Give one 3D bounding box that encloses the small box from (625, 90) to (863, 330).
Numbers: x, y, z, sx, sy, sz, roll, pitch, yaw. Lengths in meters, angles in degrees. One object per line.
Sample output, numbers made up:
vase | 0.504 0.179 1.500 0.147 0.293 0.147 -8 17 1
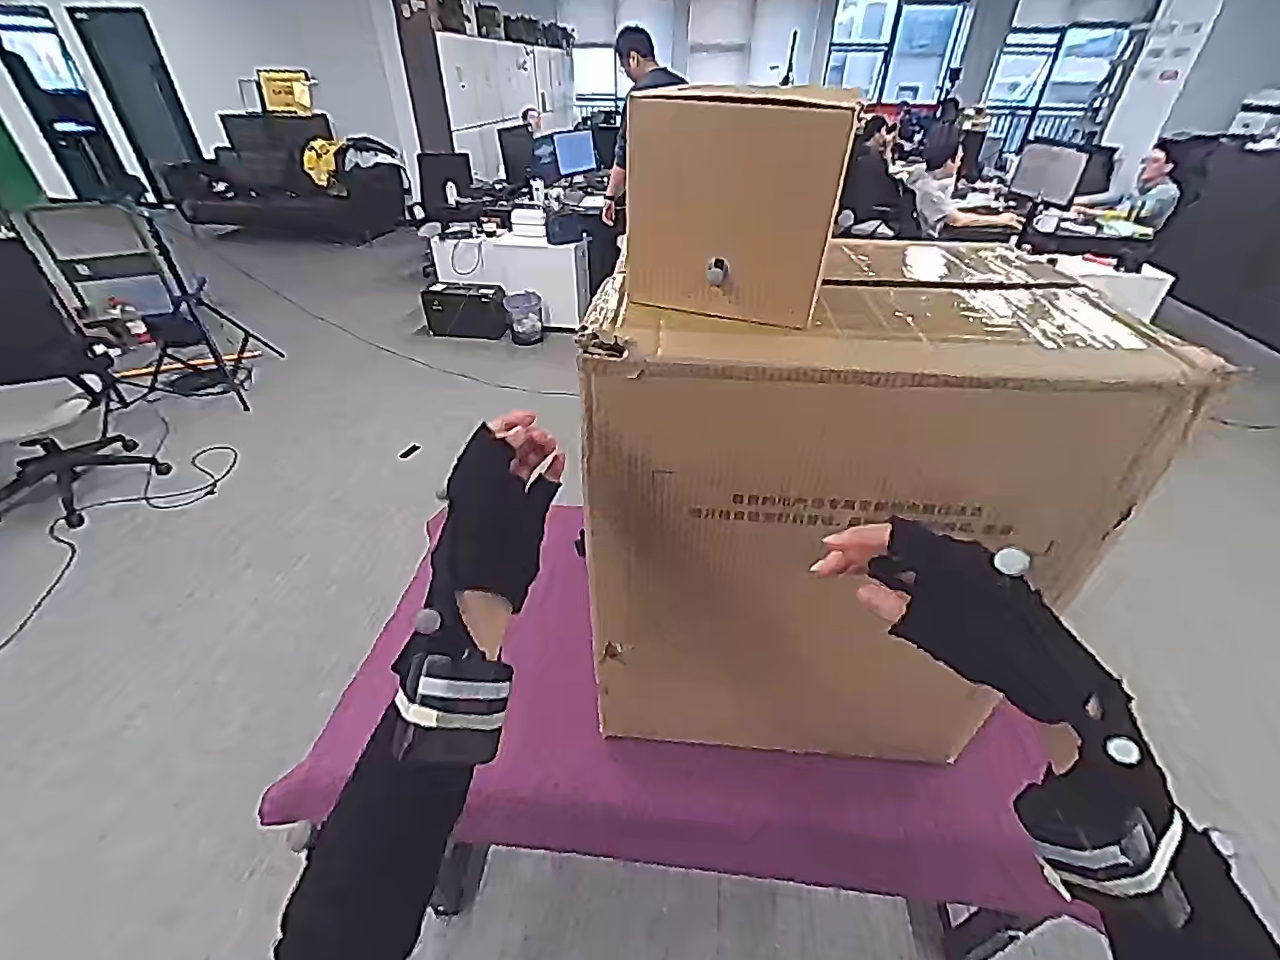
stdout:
small box | 0.095 -0.257 0.512 0.179 0.176 0.168 14 40 14
